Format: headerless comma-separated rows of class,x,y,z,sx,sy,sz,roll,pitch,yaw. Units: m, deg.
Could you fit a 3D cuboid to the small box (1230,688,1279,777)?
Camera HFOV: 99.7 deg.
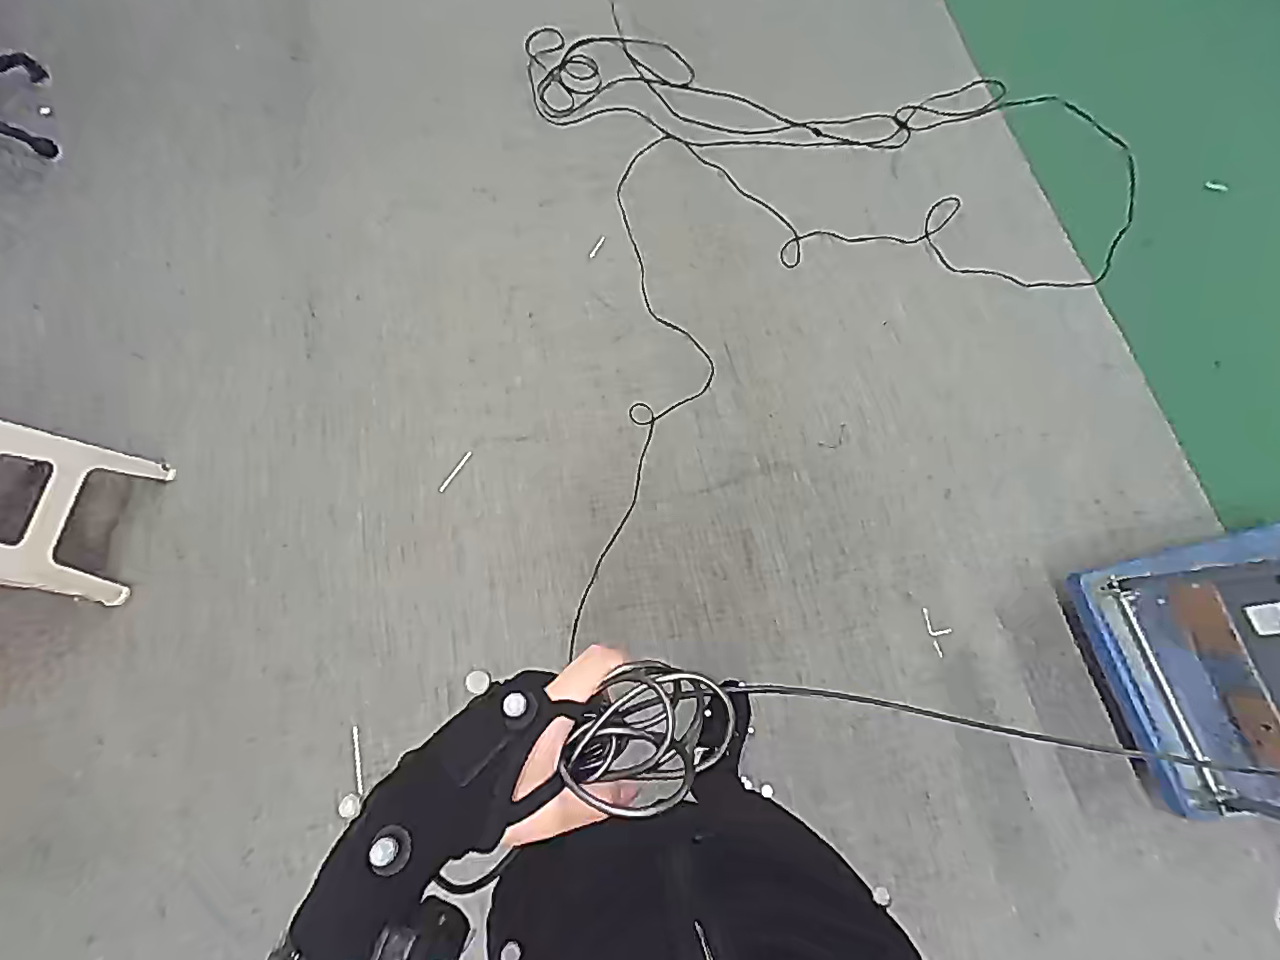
small box,1.499,0.563,1.196,0.179,0.176,0.168,-10,73,-5

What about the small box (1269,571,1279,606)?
small box,1.692,0.281,1.294,0.179,0.176,0.168,-14,74,-7
